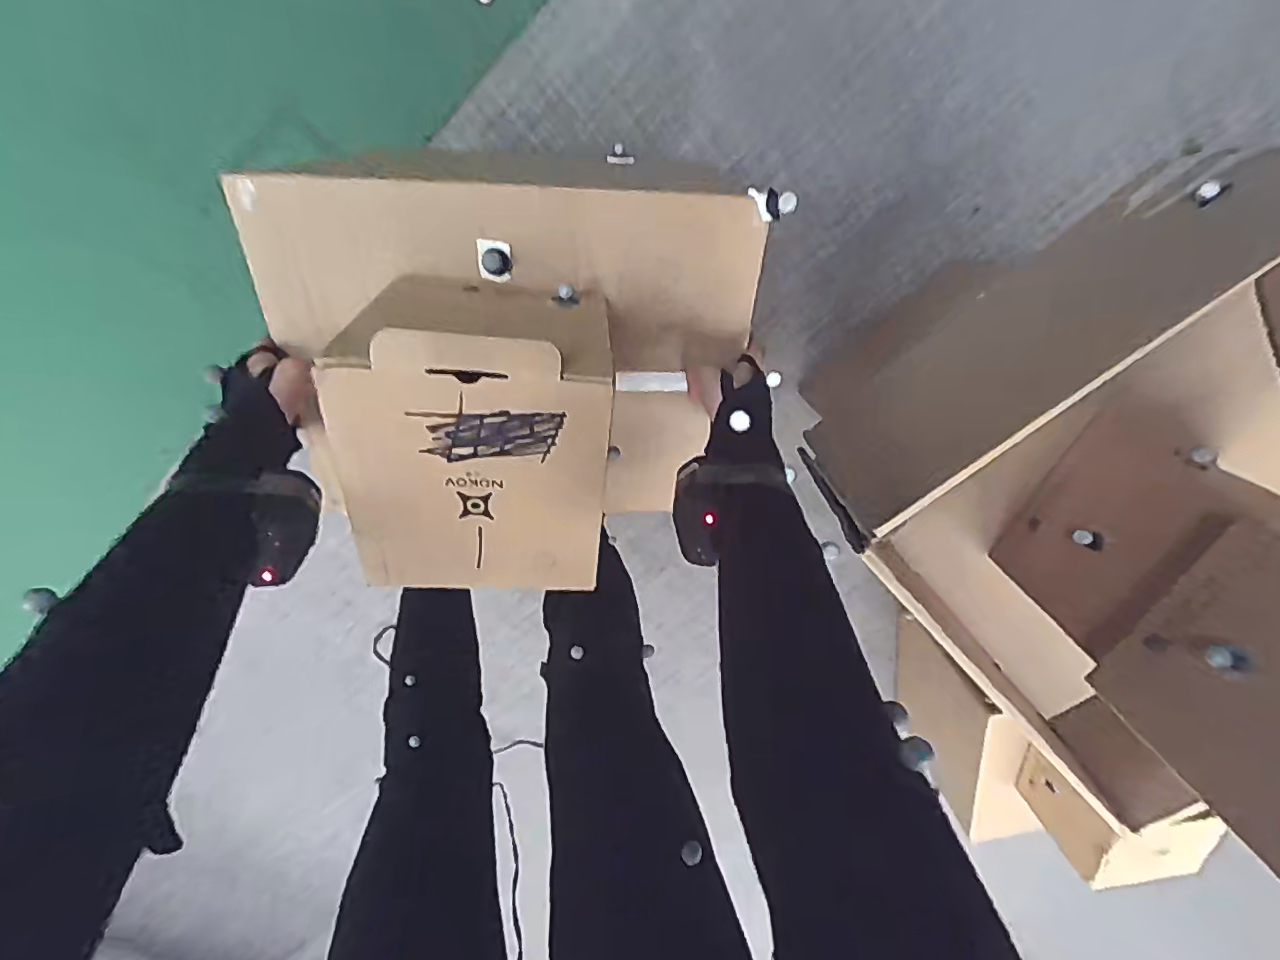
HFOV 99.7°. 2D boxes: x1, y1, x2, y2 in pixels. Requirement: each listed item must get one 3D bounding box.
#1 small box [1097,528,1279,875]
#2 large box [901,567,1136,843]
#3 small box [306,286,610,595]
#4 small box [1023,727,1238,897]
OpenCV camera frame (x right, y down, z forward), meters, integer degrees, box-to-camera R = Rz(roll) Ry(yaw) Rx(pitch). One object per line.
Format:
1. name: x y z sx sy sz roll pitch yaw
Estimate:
1. small box: 0.469 0.151 0.344 0.179 0.176 0.168 15 115 -10
2. large box: 0.756 0.449 1.104 0.320 0.320 0.408 -12 119 3
3. small box: -0.115 -0.035 0.408 0.168 0.176 0.179 2 125 -7
4. small box: 0.771 0.523 0.868 0.179 0.176 0.168 -9 118 0
